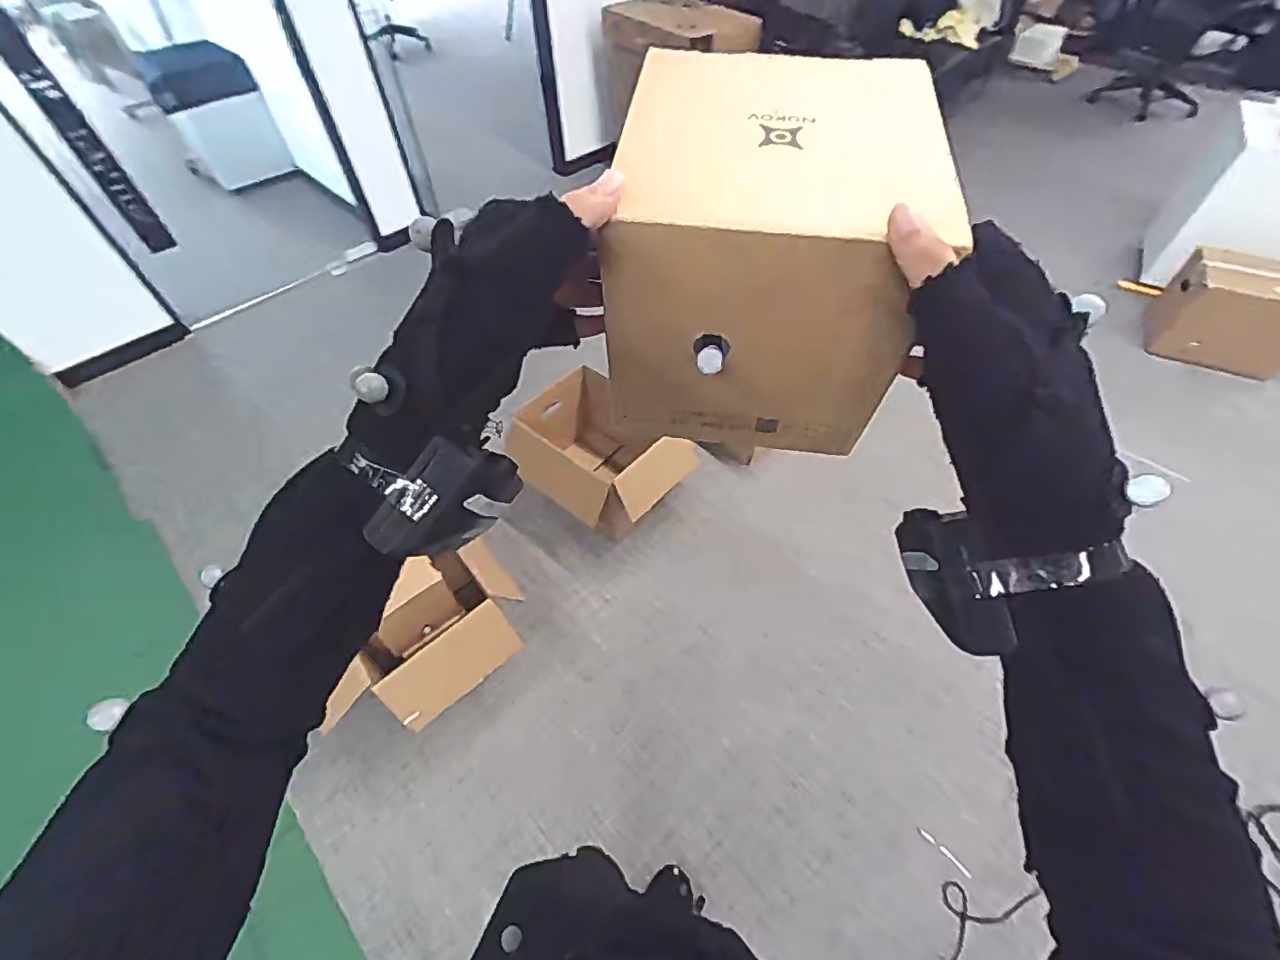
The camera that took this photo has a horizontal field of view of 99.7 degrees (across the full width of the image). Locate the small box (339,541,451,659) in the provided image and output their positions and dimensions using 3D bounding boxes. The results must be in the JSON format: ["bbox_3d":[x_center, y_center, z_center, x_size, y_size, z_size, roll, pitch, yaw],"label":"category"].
[{"bbox_3d":[-0.570,0.285,1.286,0.179,0.176,0.168,-35,56,-28],"label":"small box"}]

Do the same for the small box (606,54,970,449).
[{"bbox_3d":[0.079,-0.140,0.353,0.168,0.176,0.179,7,58,5],"label":"small box"}]
